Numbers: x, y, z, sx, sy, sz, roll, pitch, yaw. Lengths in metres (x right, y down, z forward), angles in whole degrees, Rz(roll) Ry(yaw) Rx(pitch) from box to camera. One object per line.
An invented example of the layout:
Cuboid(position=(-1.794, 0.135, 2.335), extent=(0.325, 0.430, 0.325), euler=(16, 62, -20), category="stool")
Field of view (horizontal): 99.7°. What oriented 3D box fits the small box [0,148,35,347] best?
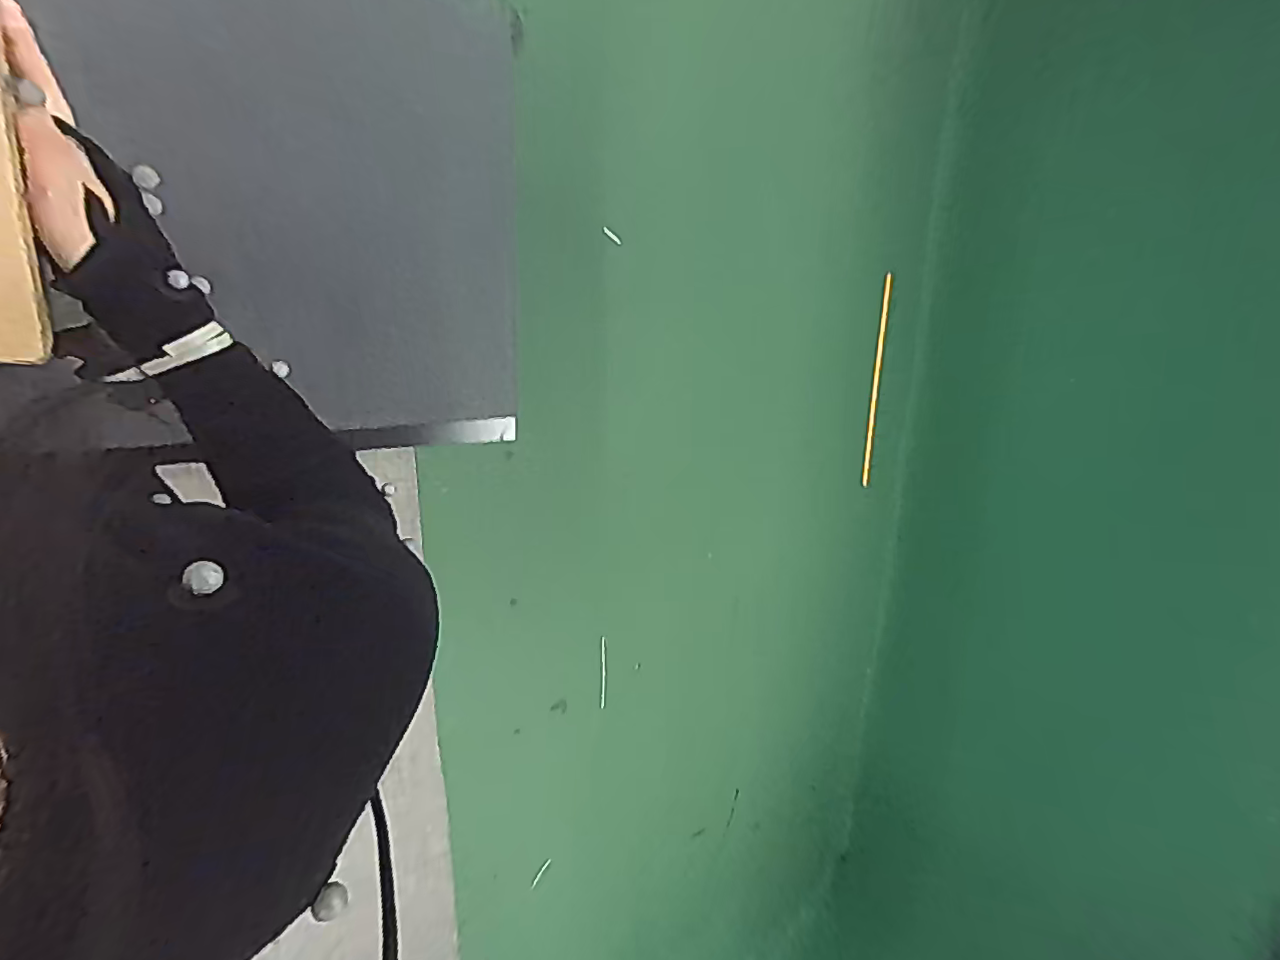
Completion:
Cuboid(position=(-0.571, -0.190, 0.383), extent=(0.168, 0.176, 0.179), euler=(-7, 105, -41), category="small box")
